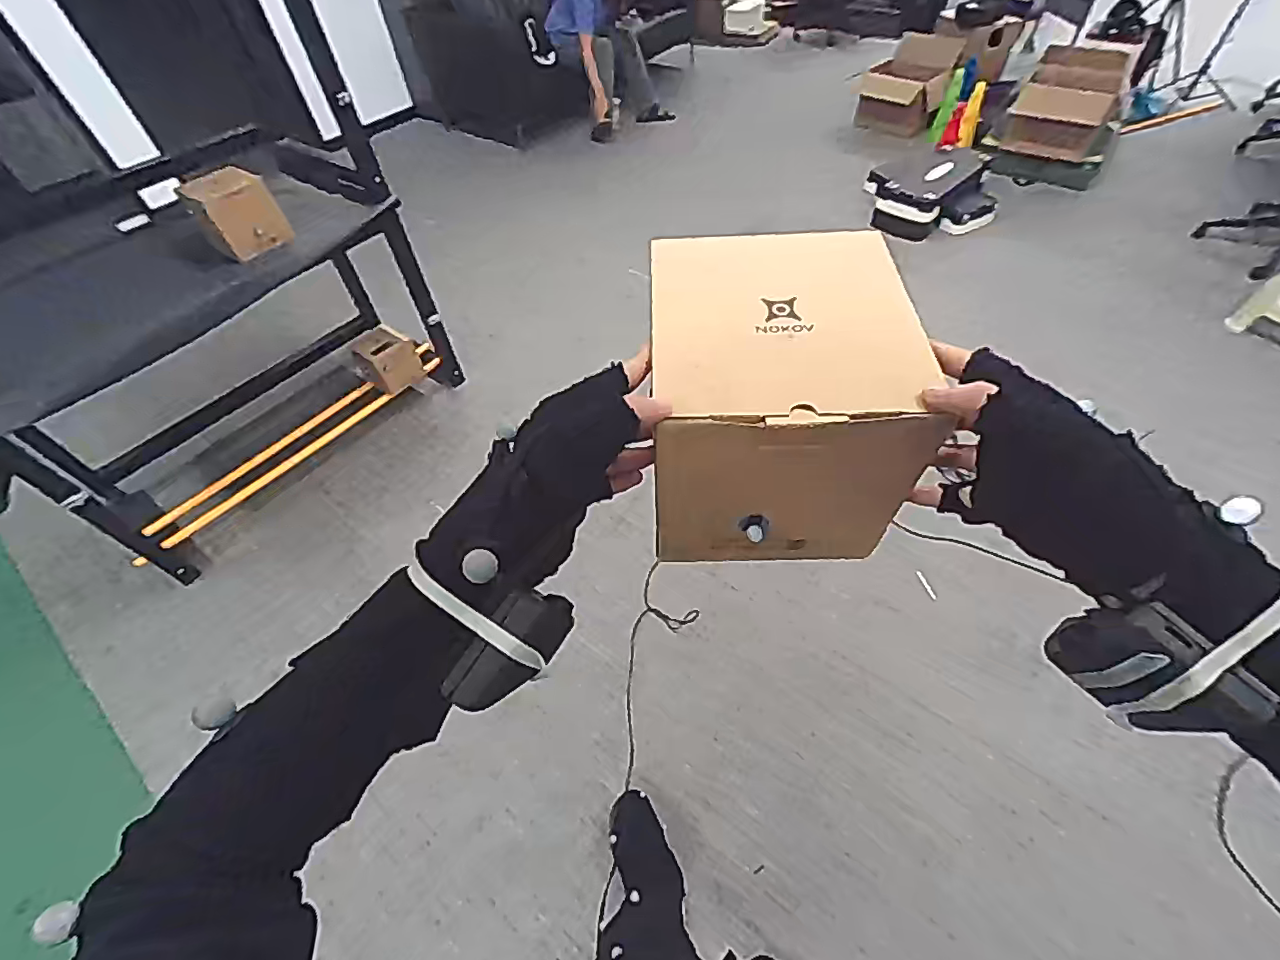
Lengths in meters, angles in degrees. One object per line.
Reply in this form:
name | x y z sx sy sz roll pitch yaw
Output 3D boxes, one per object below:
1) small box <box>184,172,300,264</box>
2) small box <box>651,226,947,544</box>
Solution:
small box | -1.108 -0.733 1.517 0.179 0.176 0.168 28 59 25
small box | 0.092 -0.067 0.413 0.168 0.176 0.179 -2 55 2
